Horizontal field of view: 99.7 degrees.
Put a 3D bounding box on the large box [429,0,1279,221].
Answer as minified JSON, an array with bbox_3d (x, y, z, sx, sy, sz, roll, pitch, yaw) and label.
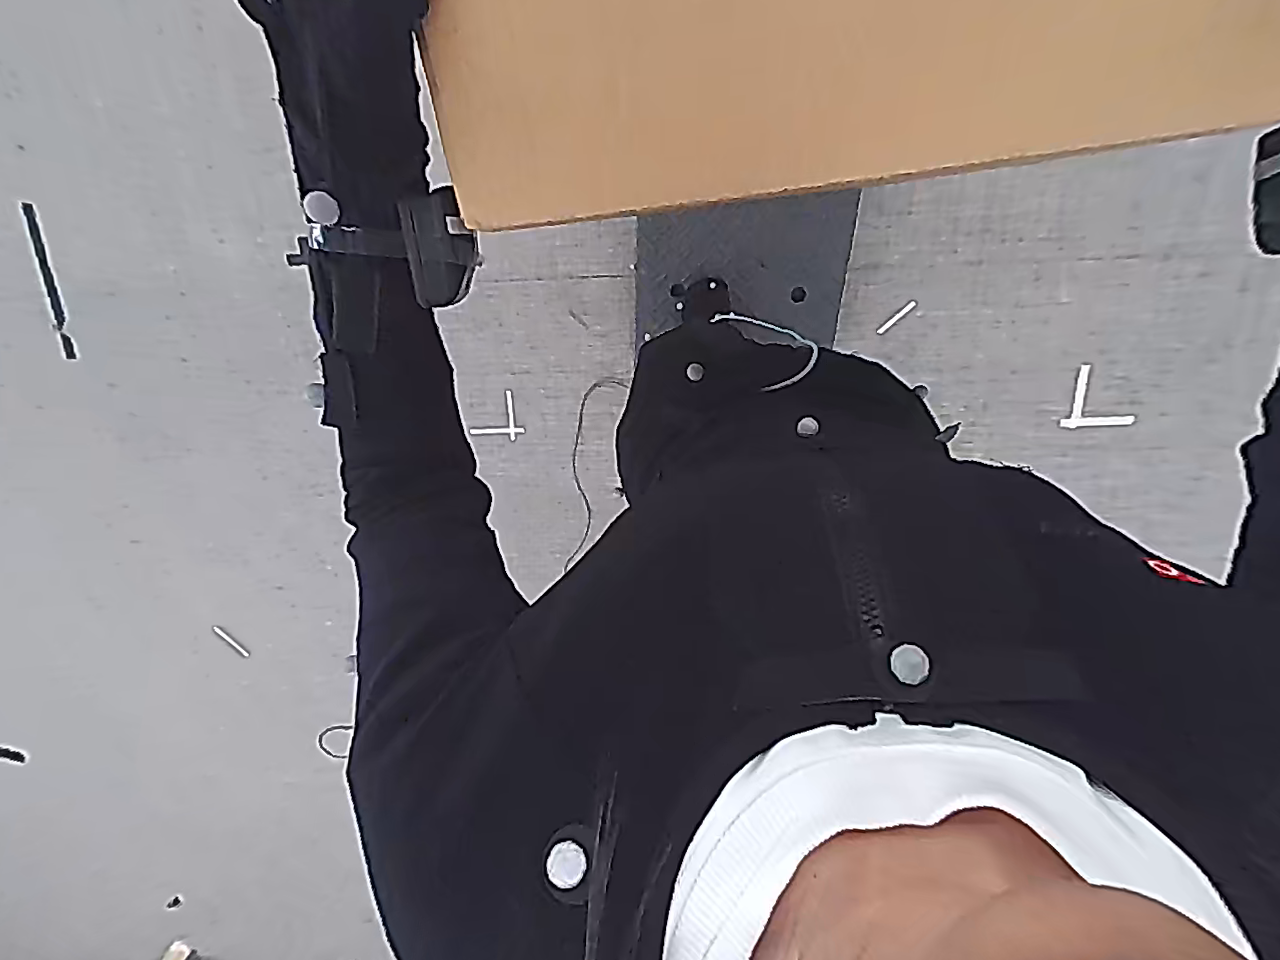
[{"bbox_3d":[0.096,-0.365,0.346,0.408,0.320,0.320,-4,117,7],"label":"large box"}]

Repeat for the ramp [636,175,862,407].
[{"bbox_3d":[0.237,-0.640,1.197,0.509,0.206,0.991,1,108,3],"label":"ramp"}]
